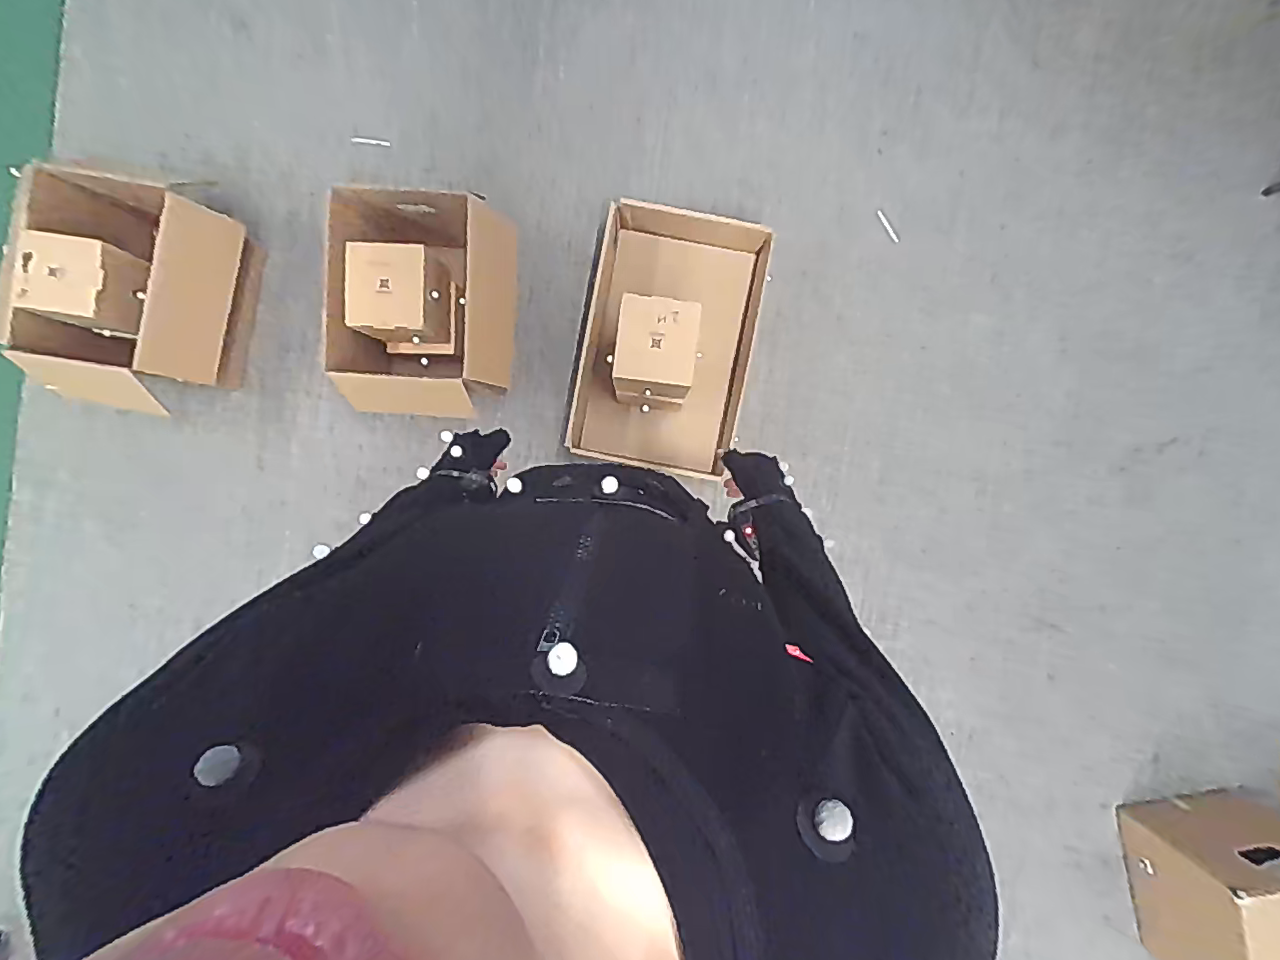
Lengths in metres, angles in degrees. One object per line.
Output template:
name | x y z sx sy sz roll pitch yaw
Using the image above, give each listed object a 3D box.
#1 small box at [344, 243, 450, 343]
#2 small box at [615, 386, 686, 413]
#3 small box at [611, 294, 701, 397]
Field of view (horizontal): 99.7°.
small box | -0.532 -0.407 1.203 0.168 0.176 0.179 2 93 0
small box | 0.035 -0.273 1.335 0.168 0.176 0.179 10 90 0
small box | 0.032 -0.281 1.170 0.168 0.176 0.179 7 90 -1
